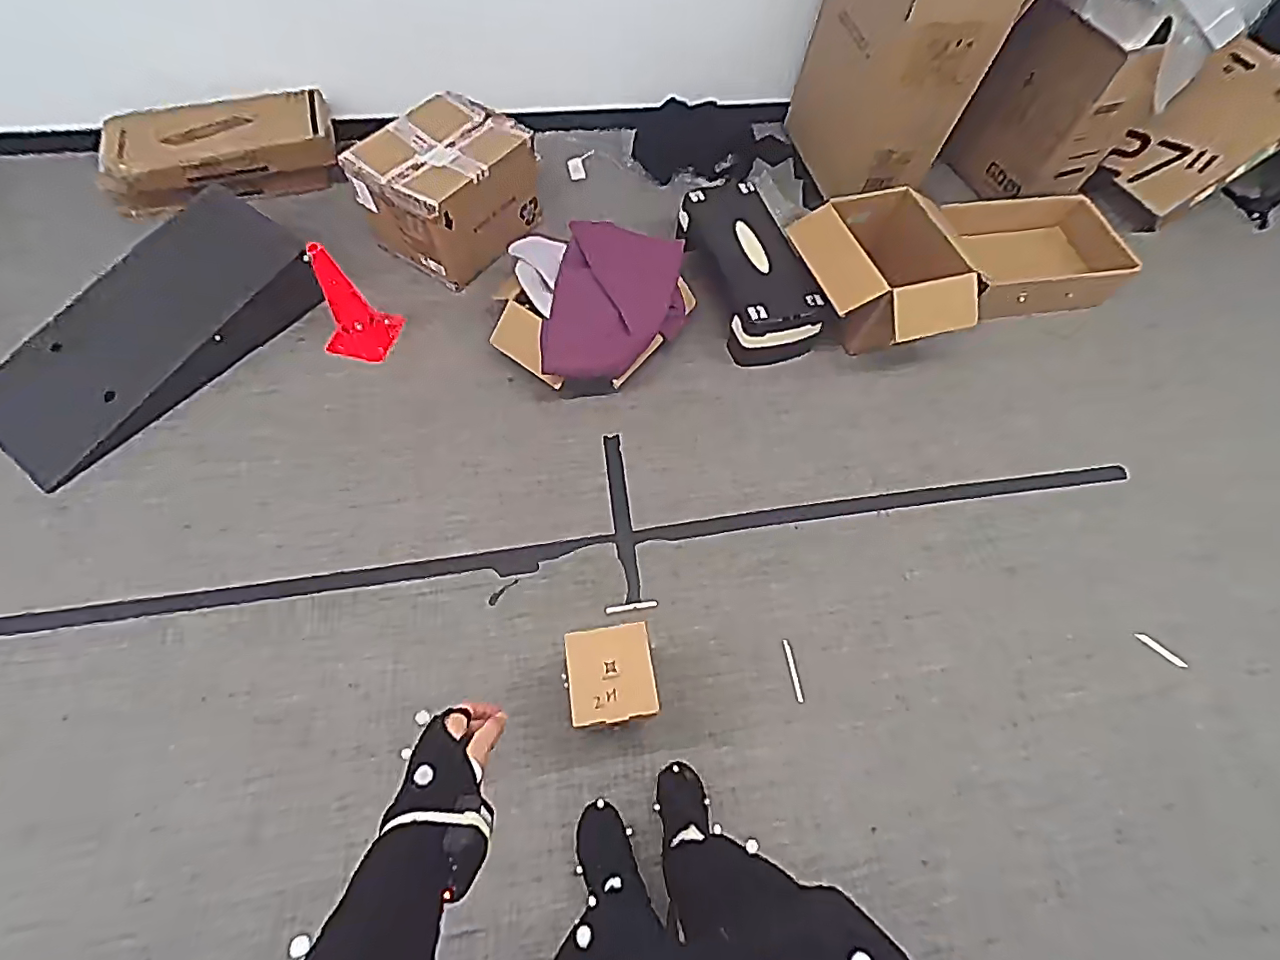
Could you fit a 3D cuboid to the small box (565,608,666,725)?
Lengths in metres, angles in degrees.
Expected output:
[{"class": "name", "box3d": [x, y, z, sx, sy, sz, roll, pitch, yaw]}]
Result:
[{"class": "small box", "box3d": [-0.052, 0.361, 1.037, 0.168, 0.176, 0.179, -7, 64, -6]}]
